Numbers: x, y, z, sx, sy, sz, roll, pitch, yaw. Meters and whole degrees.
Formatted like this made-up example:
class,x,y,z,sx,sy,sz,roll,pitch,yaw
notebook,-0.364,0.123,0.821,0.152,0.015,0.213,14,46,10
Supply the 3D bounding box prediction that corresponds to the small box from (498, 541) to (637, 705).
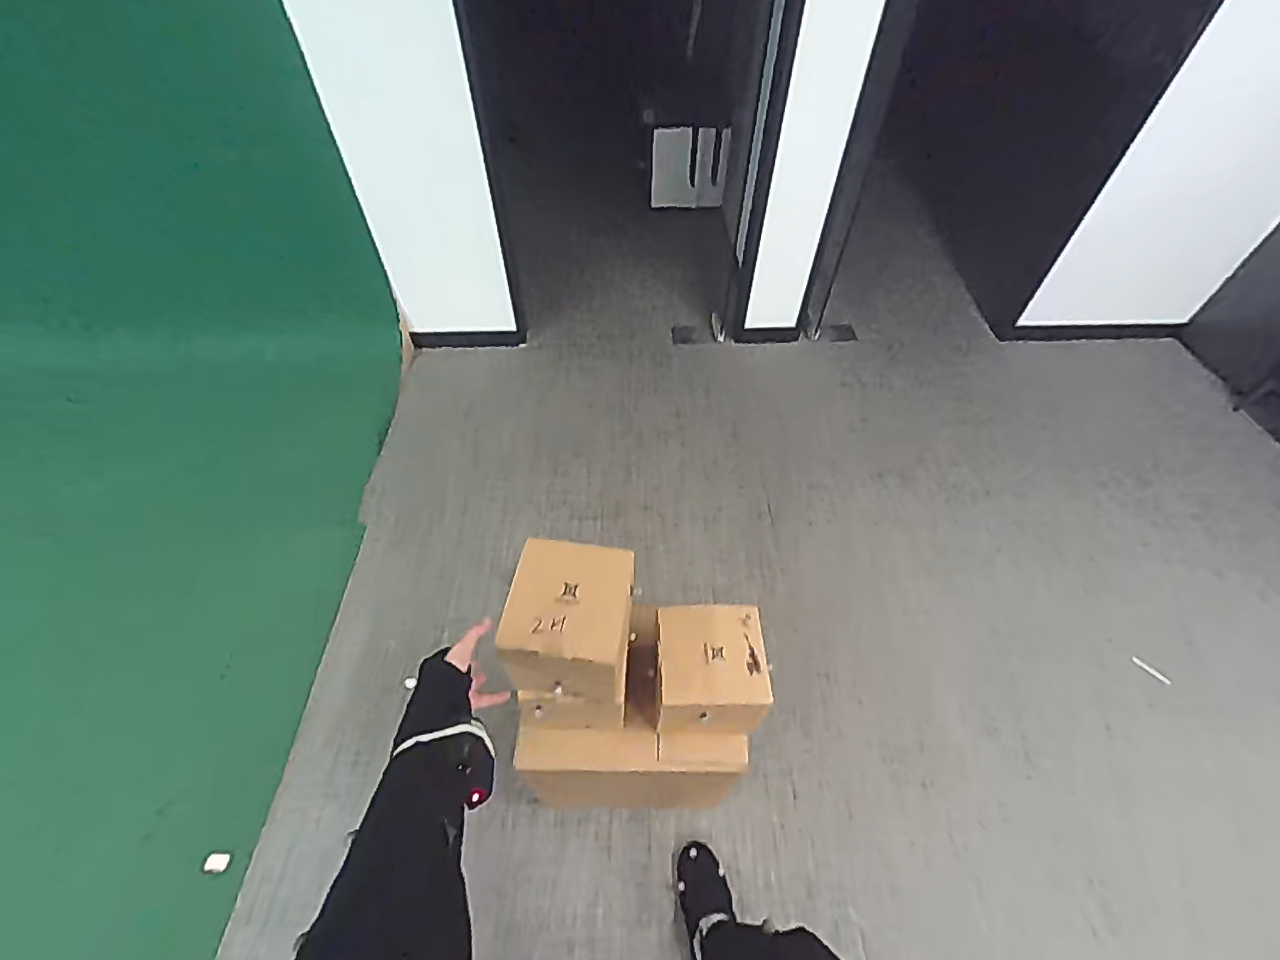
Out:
class,x,y,z,sx,sy,sz,roll,pitch,yaw
small box,-0.100,0.218,0.821,0.168,0.176,0.179,7,52,4
